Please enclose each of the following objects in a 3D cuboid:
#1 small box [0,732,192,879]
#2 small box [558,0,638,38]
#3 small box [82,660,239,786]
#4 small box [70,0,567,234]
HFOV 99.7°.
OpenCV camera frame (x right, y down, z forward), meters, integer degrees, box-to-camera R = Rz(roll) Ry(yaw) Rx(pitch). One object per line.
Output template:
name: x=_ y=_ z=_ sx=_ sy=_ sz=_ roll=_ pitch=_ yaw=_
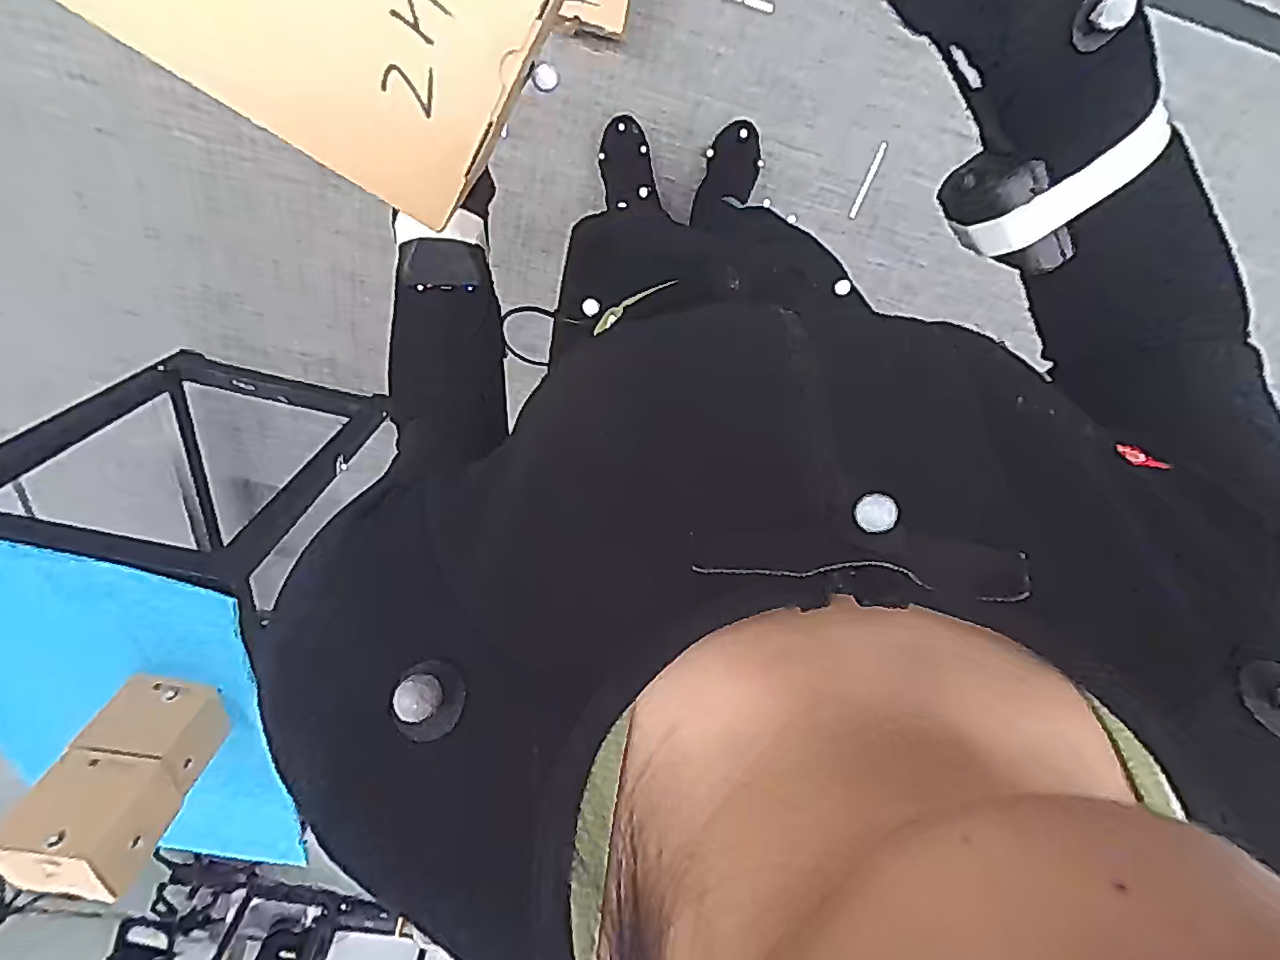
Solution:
small box: x=-0.988 y=0.600 z=1.002 sx=0.168 sy=0.176 sz=0.179 roll=10 pitch=125 yaw=-3
small box: x=-0.082 y=-0.914 z=0.954 sx=0.168 sy=0.176 sz=0.179 roll=12 pitch=125 yaw=-6
small box: x=-0.989 y=0.511 z=1.138 sx=0.168 sy=0.176 sz=0.179 roll=13 pitch=125 yaw=-6
small box: x=-0.135 y=-0.265 z=0.265 sx=0.179 sy=0.176 sz=0.168 roll=29 pitch=123 yaw=-30
